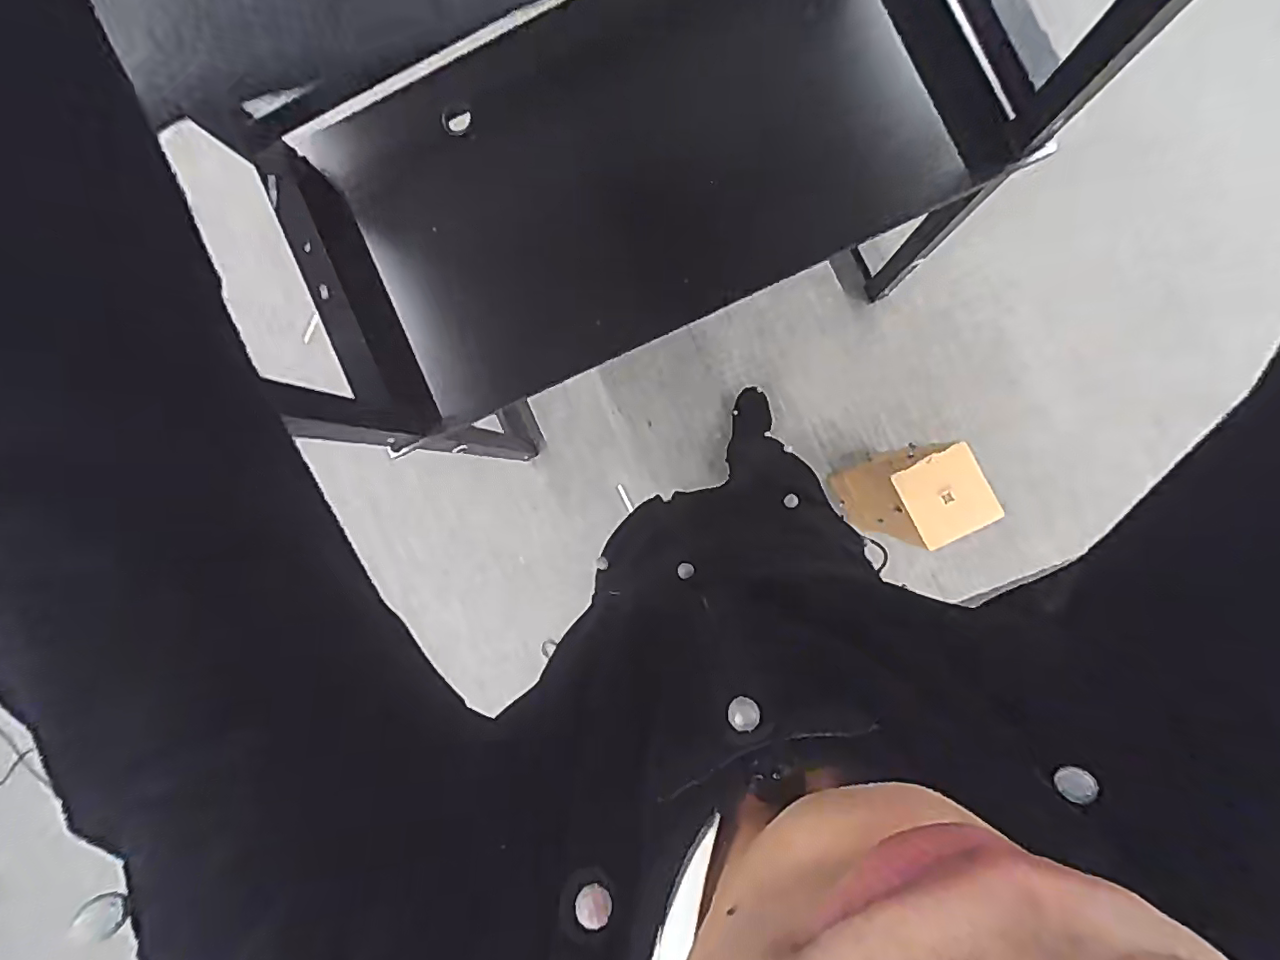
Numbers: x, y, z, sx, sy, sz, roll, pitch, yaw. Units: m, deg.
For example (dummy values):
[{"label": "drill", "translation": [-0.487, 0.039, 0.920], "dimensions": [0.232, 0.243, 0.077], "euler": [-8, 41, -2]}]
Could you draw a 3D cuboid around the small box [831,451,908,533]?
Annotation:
[{"label": "small box", "translation": [0.656, 0.031, 1.494], "dimensions": [0.179, 0.176, 0.168], "euler": [-26, 87, 6]}]

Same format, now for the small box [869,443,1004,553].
[{"label": "small box", "translation": [0.628, 0.034, 1.167], "dimensions": [0.168, 0.176, 0.179], "euler": [-27, 87, 6]}]
